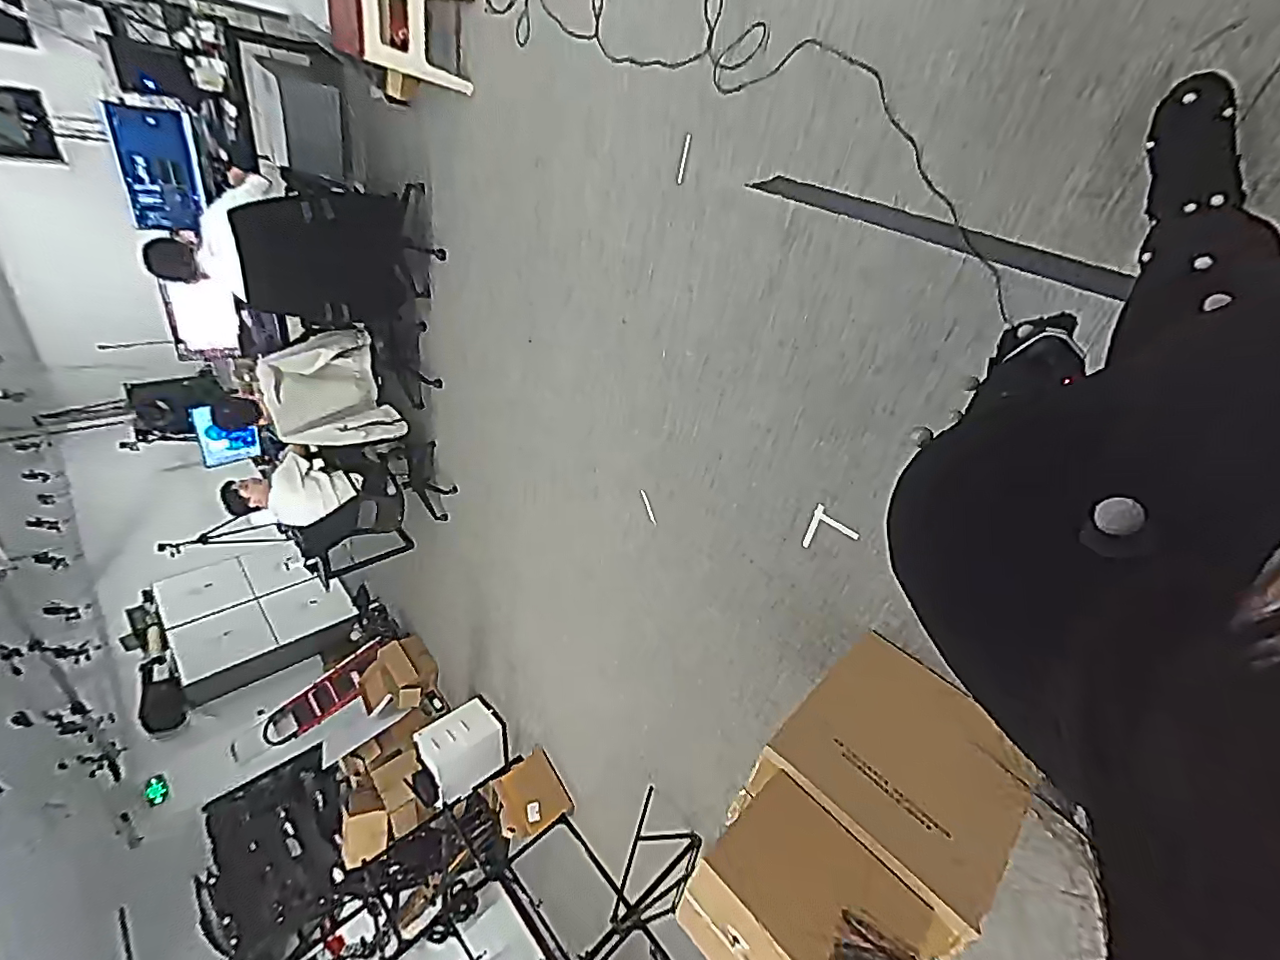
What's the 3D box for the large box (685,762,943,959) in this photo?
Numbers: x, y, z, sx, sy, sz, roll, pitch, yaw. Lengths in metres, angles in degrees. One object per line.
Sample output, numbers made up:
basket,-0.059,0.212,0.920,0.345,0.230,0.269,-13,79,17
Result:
large box,0.371,0.949,1.209,0.408,0.320,0.320,35,129,34
